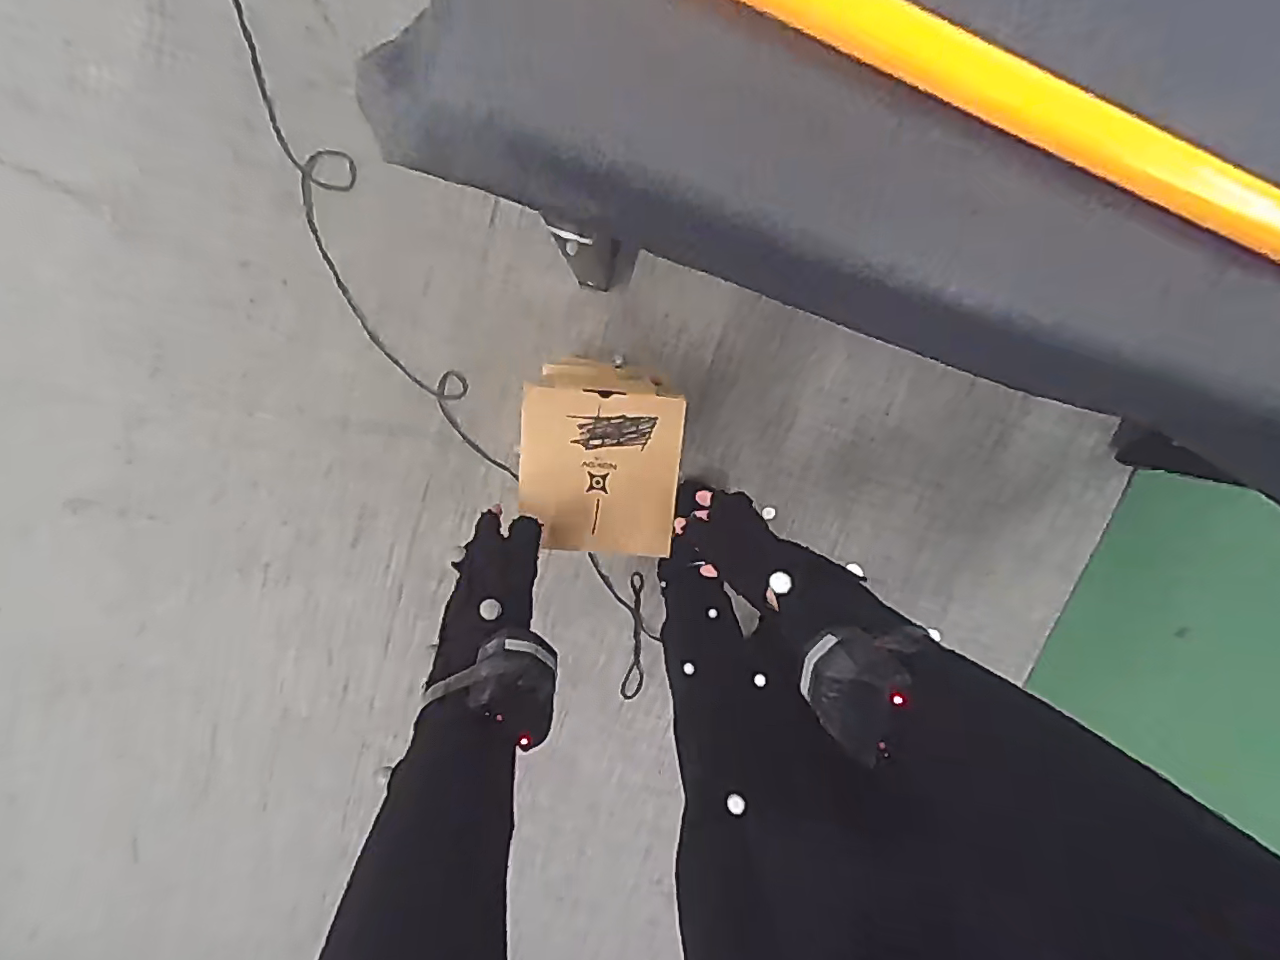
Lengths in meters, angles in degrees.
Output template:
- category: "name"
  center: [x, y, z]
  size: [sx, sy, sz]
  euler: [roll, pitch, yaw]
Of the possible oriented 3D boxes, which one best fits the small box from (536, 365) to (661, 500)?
- category: "small box"
  center: [-0.054, -0.077, 0.795]
  size: [0.168, 0.176, 0.179]
  euler: [1, 102, 0]
